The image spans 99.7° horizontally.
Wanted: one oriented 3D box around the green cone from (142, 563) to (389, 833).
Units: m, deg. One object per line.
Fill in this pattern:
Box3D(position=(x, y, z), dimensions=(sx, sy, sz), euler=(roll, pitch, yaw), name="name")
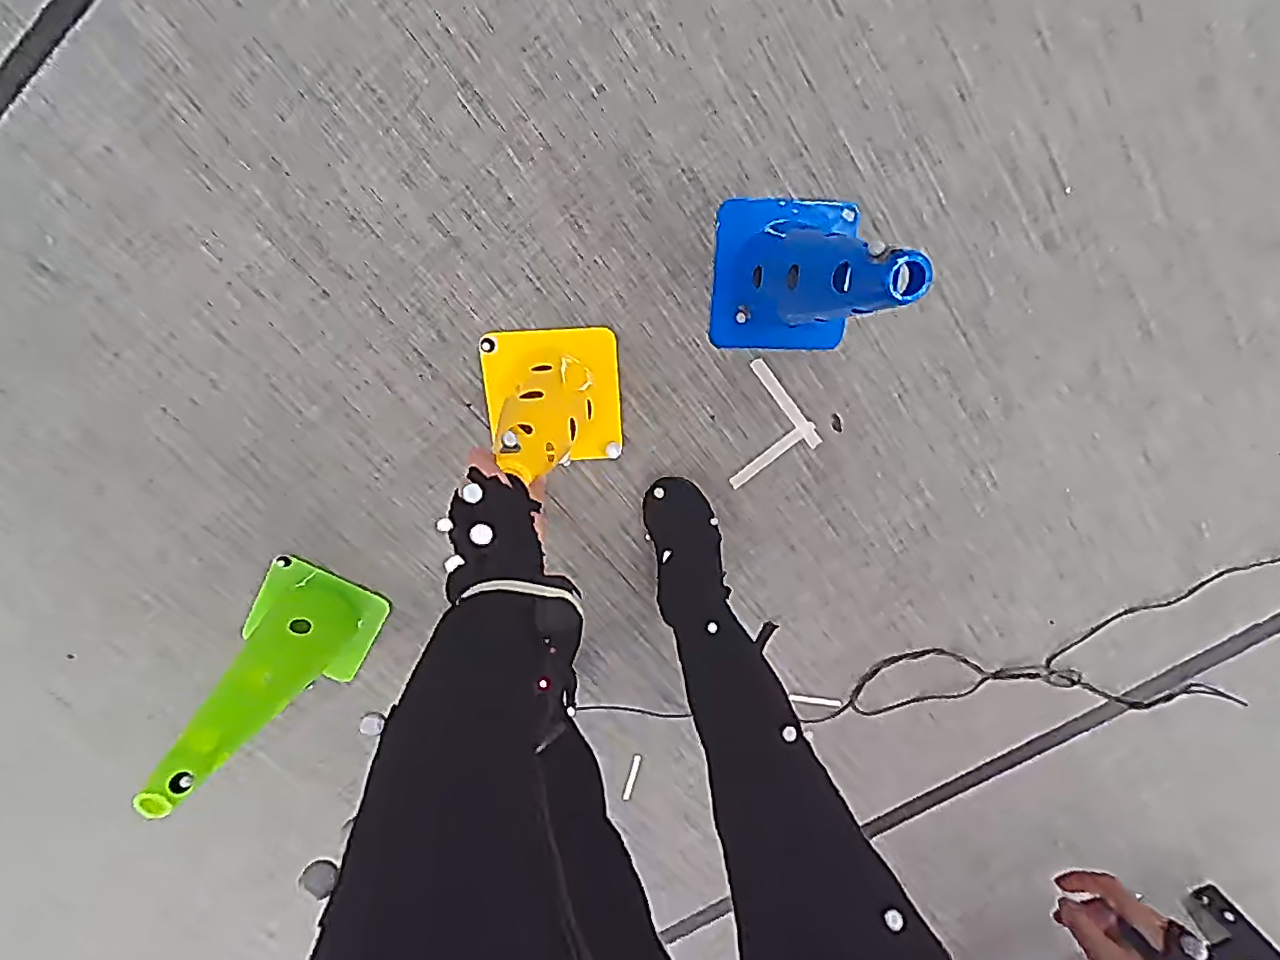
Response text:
Box3D(position=(-0.547, 0.314, 0.766), dimensions=(0.202, 0.368, 0.200), euler=(29, 107, -13), name="green cone")
